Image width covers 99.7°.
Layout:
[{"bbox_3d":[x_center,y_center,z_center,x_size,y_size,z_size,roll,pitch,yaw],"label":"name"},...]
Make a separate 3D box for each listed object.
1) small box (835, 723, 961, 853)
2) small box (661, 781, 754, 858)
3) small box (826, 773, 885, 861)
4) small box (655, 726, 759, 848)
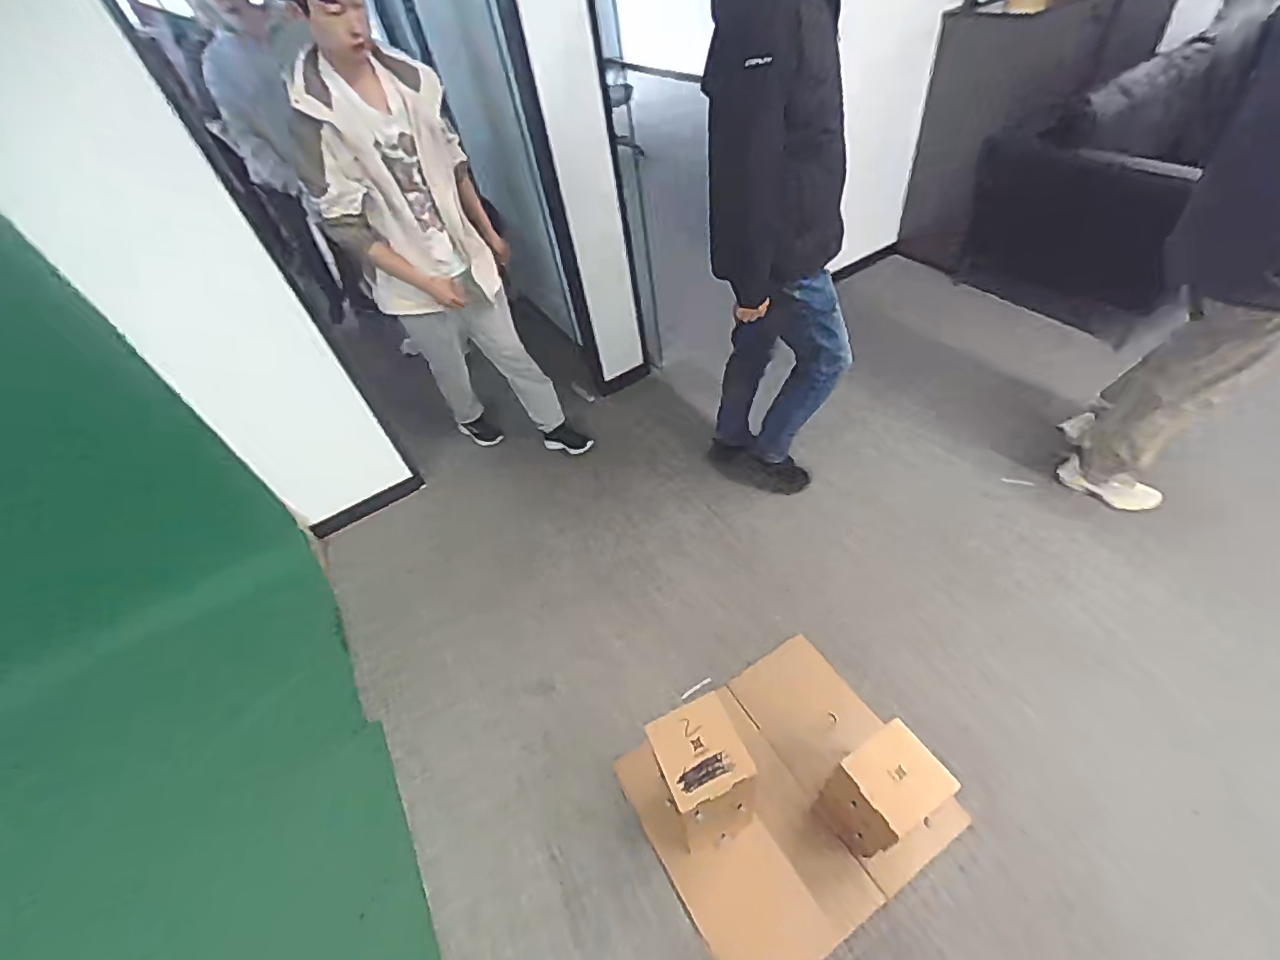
[{"bbox_3d":[0.550,0.675,1.182,0.179,0.176,0.168,-29,50,-15],"label":"small box"},{"bbox_3d":[0.167,0.807,1.351,0.179,0.176,0.168,-22,47,-10],"label":"small box"},{"bbox_3d":[0.569,0.779,1.304,0.179,0.176,0.168,-28,49,-15],"label":"small box"},{"bbox_3d":[0.151,0.697,1.227,0.179,0.176,0.168,-22,47,-10],"label":"small box"}]
